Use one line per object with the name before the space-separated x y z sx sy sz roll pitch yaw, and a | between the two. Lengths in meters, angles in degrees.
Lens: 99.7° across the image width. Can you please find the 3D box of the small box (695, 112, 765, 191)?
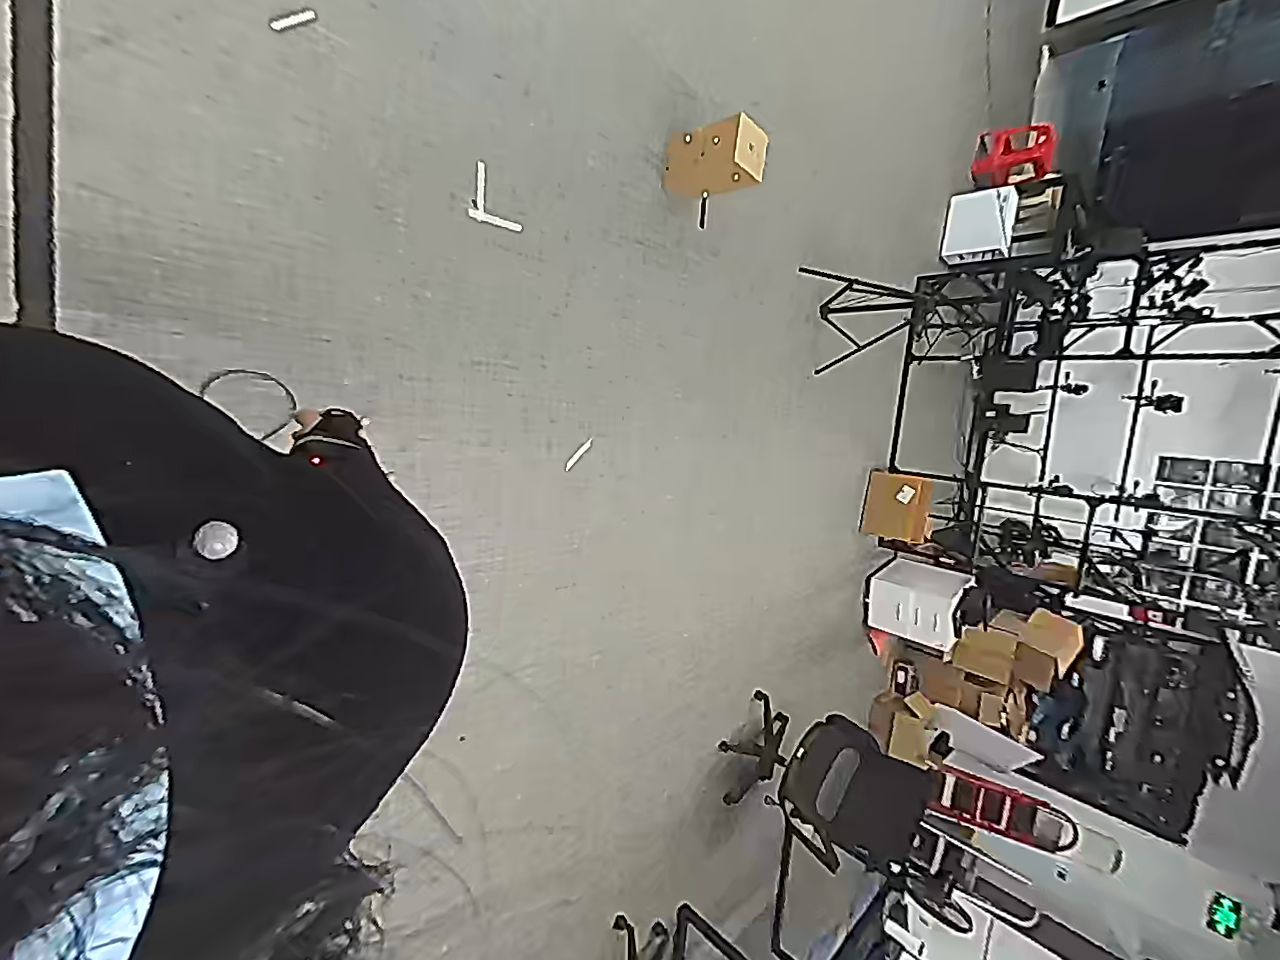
small box | 0.317 -1.157 1.926 0.179 0.176 0.168 5 96 -47
